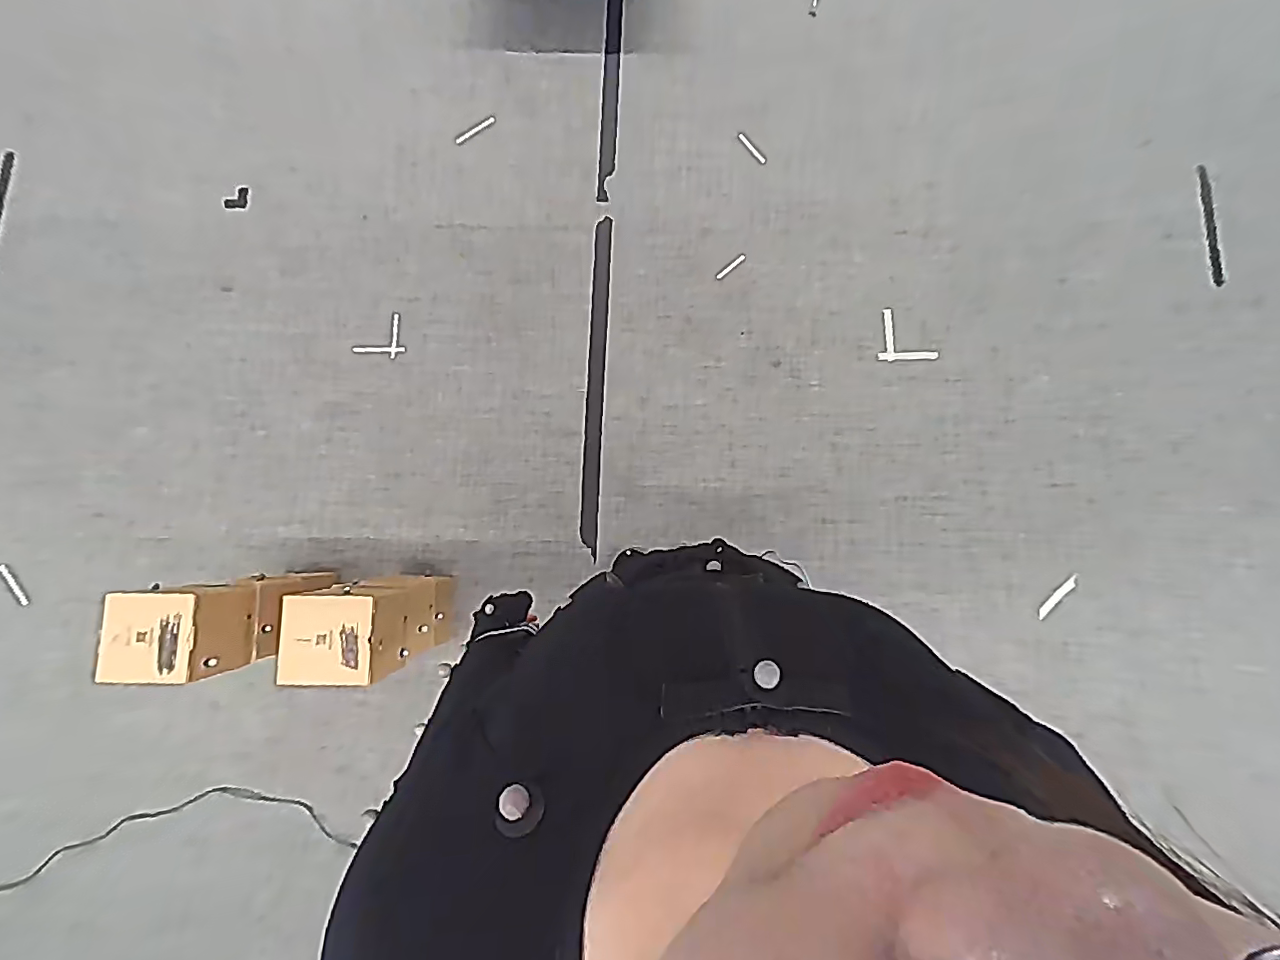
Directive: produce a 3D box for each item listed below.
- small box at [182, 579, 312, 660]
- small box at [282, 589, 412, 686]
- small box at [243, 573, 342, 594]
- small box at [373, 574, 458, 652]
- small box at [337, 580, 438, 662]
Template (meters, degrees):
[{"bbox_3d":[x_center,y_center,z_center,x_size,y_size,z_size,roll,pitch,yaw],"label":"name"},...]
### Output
[{"bbox_3d":[-0.909,0.321,1.263,0.179,0.176,0.168,-1,84,1],"label":"small box"},{"bbox_3d":[-0.585,0.312,1.101,0.179,0.176,0.168,0,83,1],"label":"small box"},{"bbox_3d":[-0.915,0.339,1.427,0.168,0.176,0.179,0,83,0],"label":"small box"},{"bbox_3d":[-0.594,0.344,1.426,0.168,0.176,0.179,3,82,0],"label":"small box"},{"bbox_3d":[-0.586,0.324,1.265,0.179,0.176,0.168,-1,84,0],"label":"small box"}]
